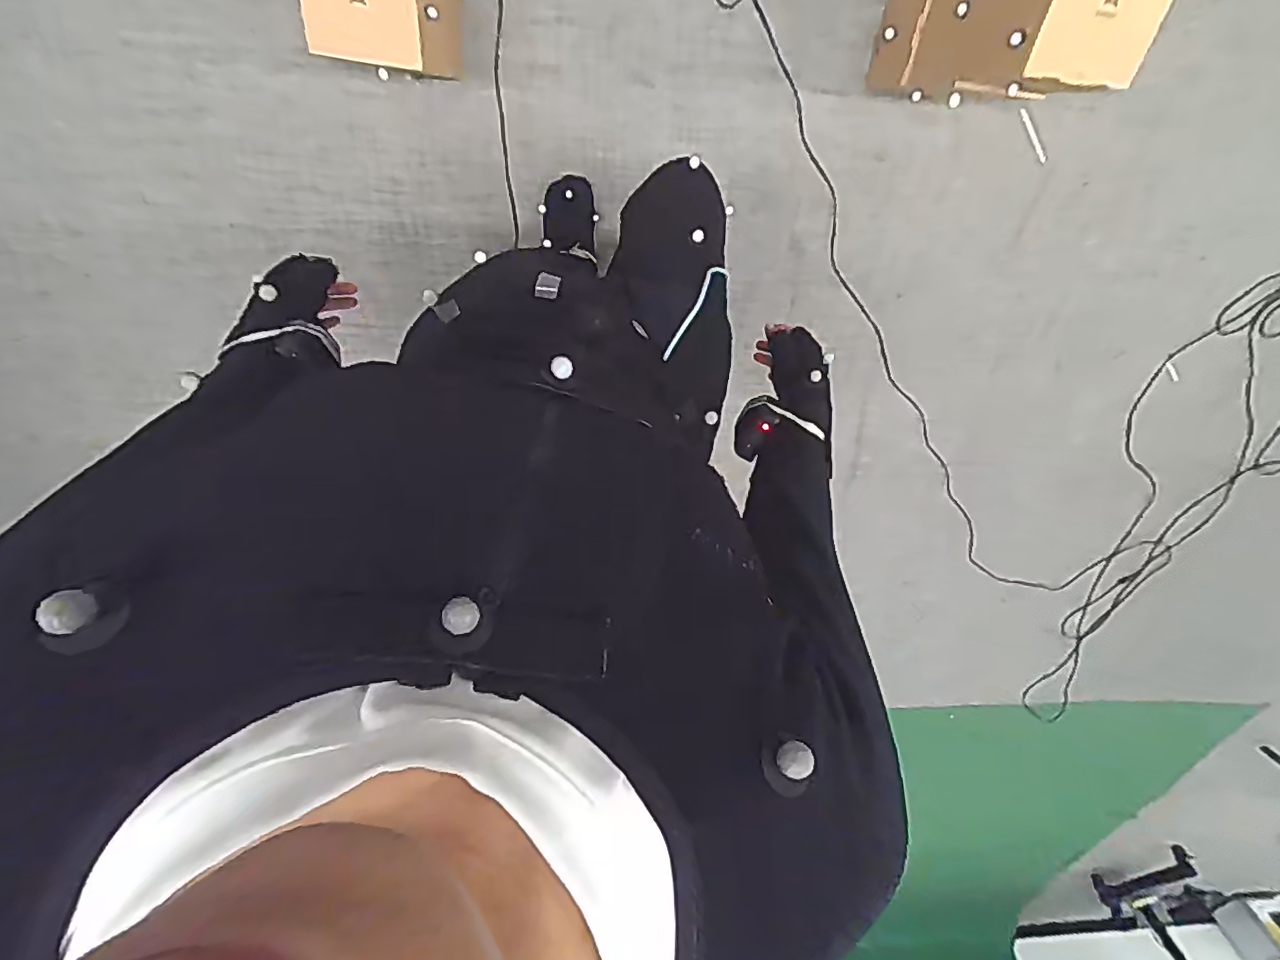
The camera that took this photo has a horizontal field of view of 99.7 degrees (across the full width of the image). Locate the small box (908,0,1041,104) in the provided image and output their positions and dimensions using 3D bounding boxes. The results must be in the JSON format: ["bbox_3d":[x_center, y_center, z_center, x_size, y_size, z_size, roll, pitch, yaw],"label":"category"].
[{"bbox_3d":[0.586,-0.747,0.905,0.168,0.176,0.179,3,125,-8],"label":"small box"}]

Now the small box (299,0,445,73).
[{"bbox_3d":[-0.404,-0.747,0.829,0.168,0.176,0.179,5,124,-7],"label":"small box"}]

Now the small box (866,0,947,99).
[{"bbox_3d":[0.566,-0.842,1.038,0.179,0.176,0.168,3,125,-7],"label":"small box"}]

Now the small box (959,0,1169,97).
[{"bbox_3d":[0.598,-0.662,0.767,0.168,0.176,0.179,3,125,-7],"label":"small box"}]

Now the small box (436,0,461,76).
[{"bbox_3d":[-0.416,-0.835,0.947,0.168,0.176,0.179,6,124,-9],"label":"small box"}]
